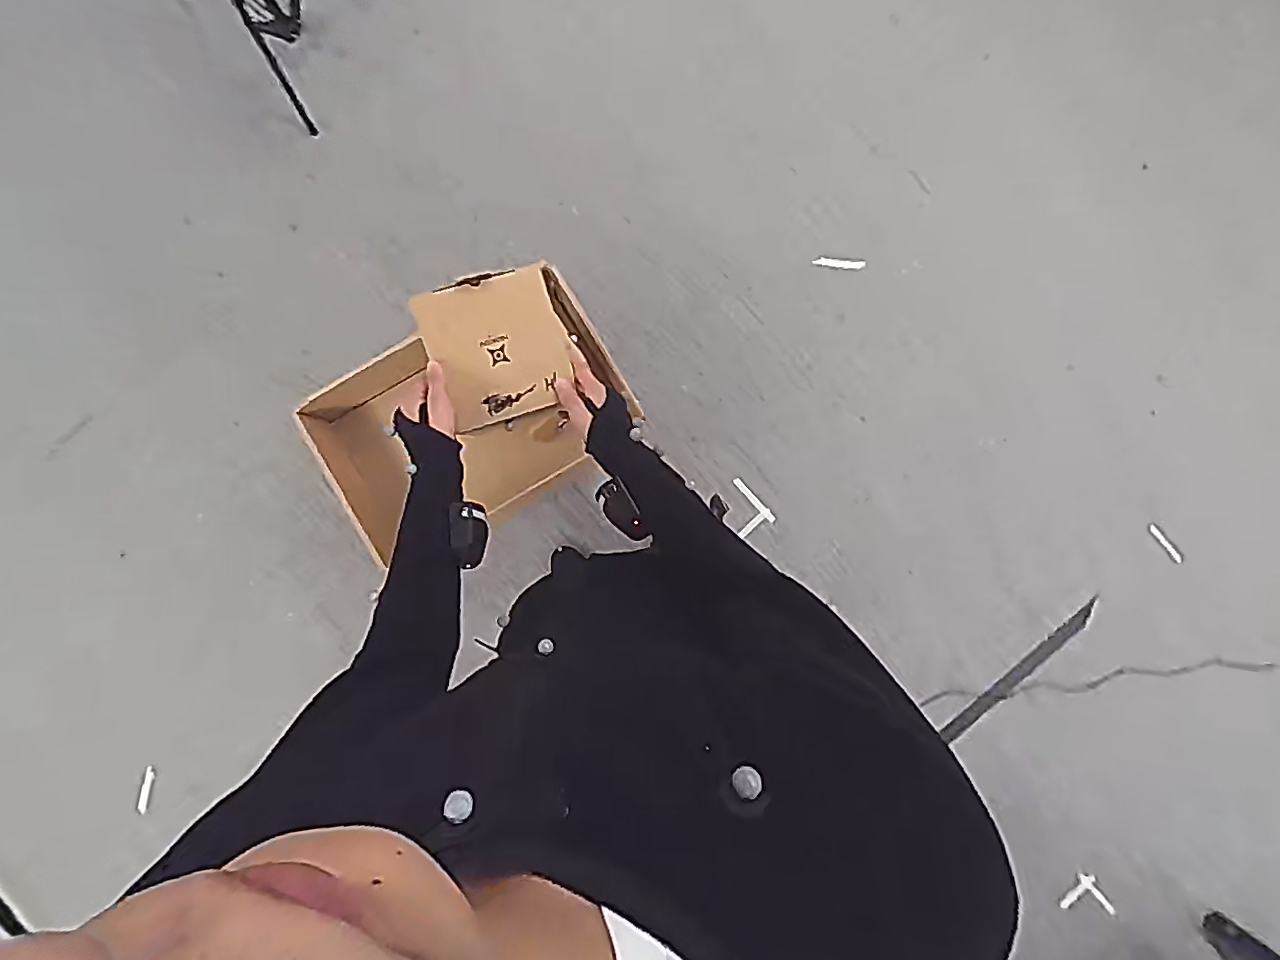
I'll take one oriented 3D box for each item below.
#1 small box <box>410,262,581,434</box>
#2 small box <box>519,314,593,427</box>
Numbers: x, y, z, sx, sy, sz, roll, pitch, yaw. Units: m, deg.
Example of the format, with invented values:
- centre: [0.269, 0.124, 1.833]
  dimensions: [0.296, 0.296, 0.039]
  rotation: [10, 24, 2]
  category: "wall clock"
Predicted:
- centre: [-0.188, -0.168, 0.741]
  dimensions: [0.168, 0.176, 0.179]
  rotation: [-18, 96, -7]
  category: "small box"
- centre: [-0.201, -0.214, 0.982]
  dimensions: [0.179, 0.176, 0.168]
  rotation: [-34, 88, -1]
  category: "small box"
